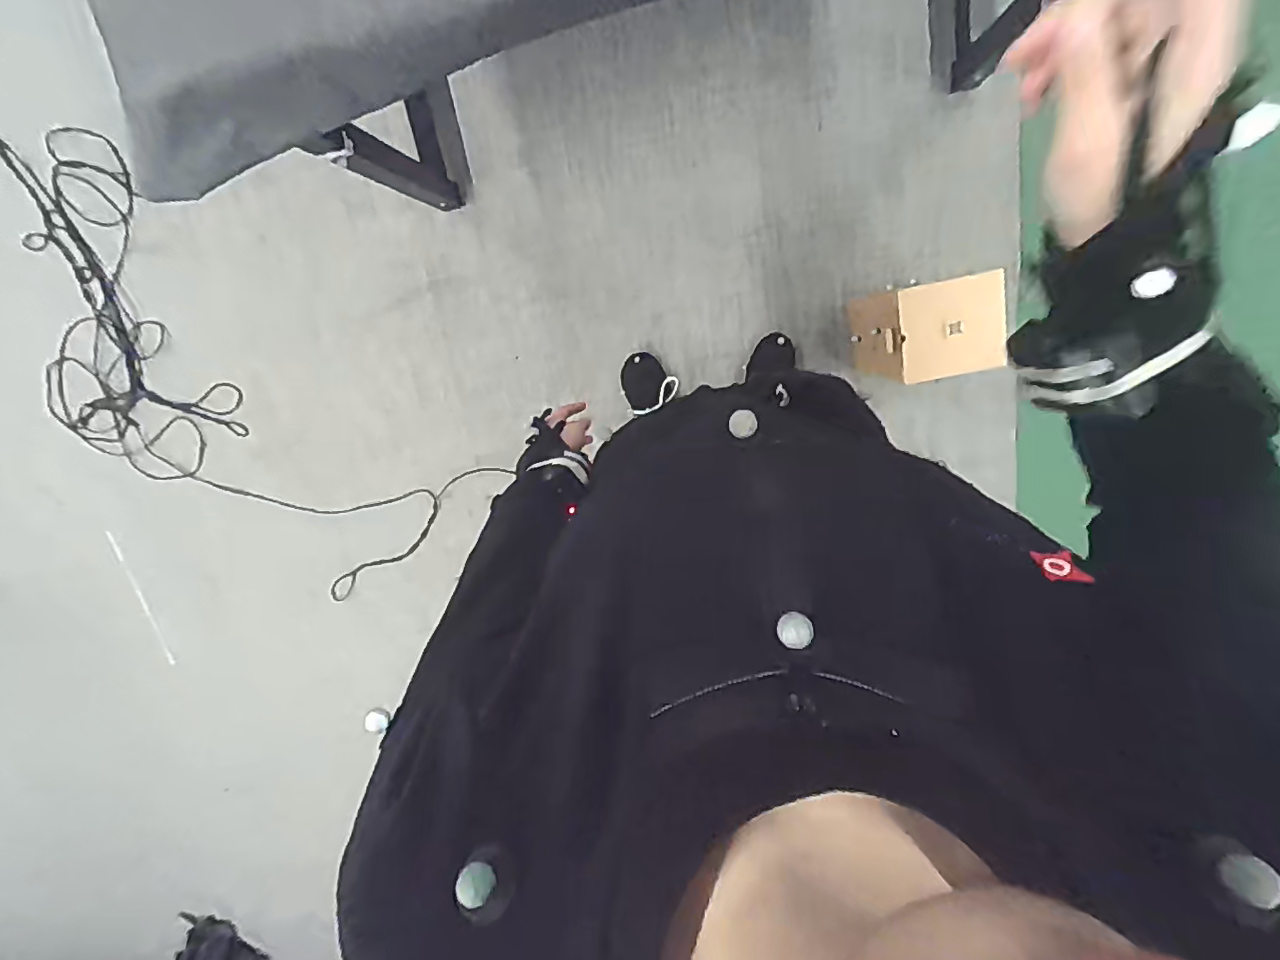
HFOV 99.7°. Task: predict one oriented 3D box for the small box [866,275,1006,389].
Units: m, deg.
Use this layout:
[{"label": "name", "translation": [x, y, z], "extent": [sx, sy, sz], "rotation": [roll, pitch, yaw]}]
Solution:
[{"label": "small box", "translation": [0.541, -0.275, 1.005], "extent": [0.179, 0.176, 0.168], "rotation": [-11, 104, 9]}]
